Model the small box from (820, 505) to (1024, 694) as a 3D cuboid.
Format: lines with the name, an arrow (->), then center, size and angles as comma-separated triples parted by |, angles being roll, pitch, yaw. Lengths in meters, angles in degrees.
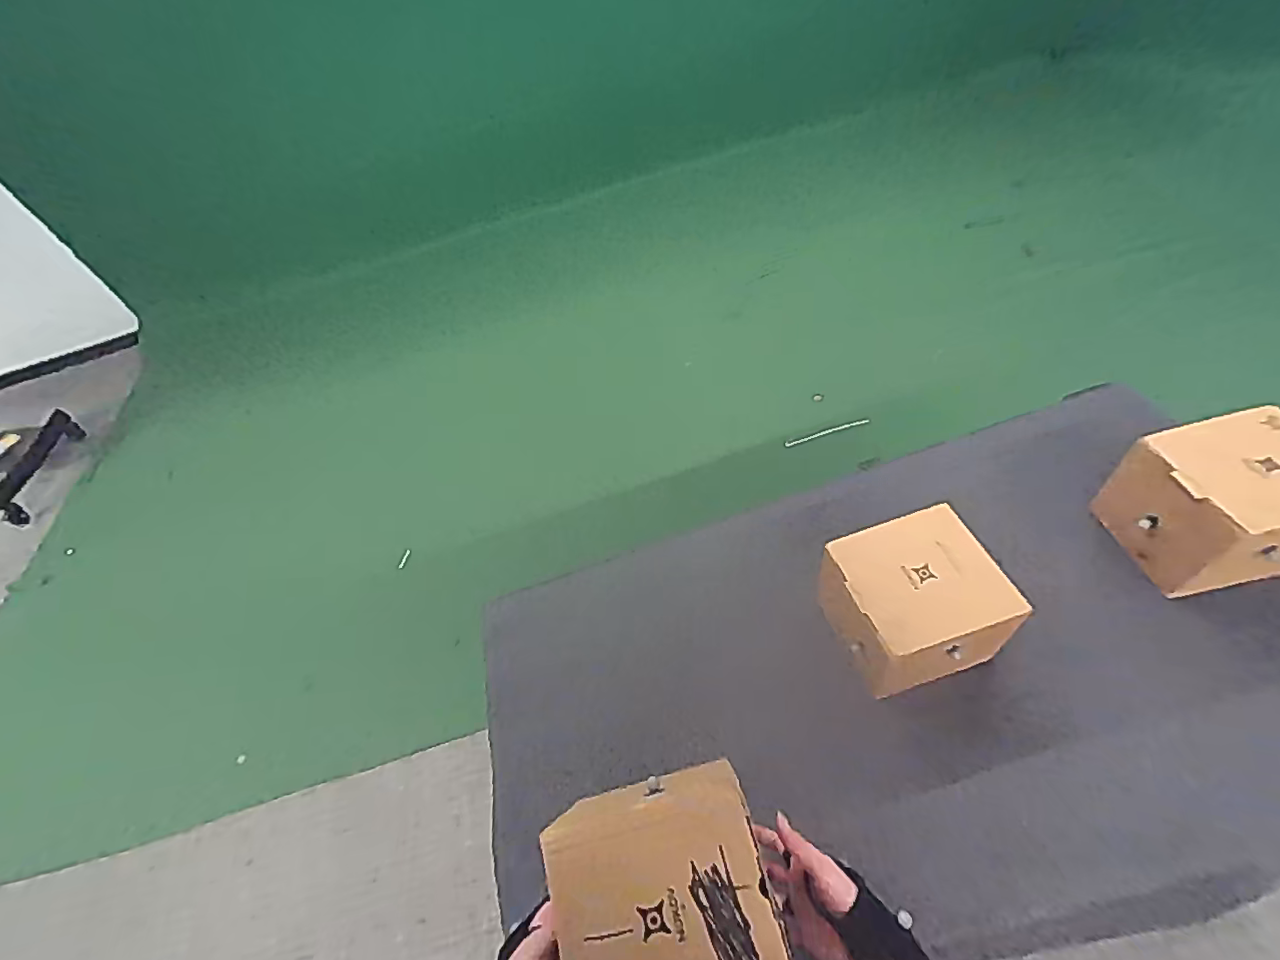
small box -> 0.358, 0.168, 0.734 | 0.179, 0.176, 0.168 | -18, 52, -2

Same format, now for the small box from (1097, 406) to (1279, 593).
small box -> 0.774, 0.033, 0.732 | 0.179, 0.176, 0.168 | -15, 51, 3
